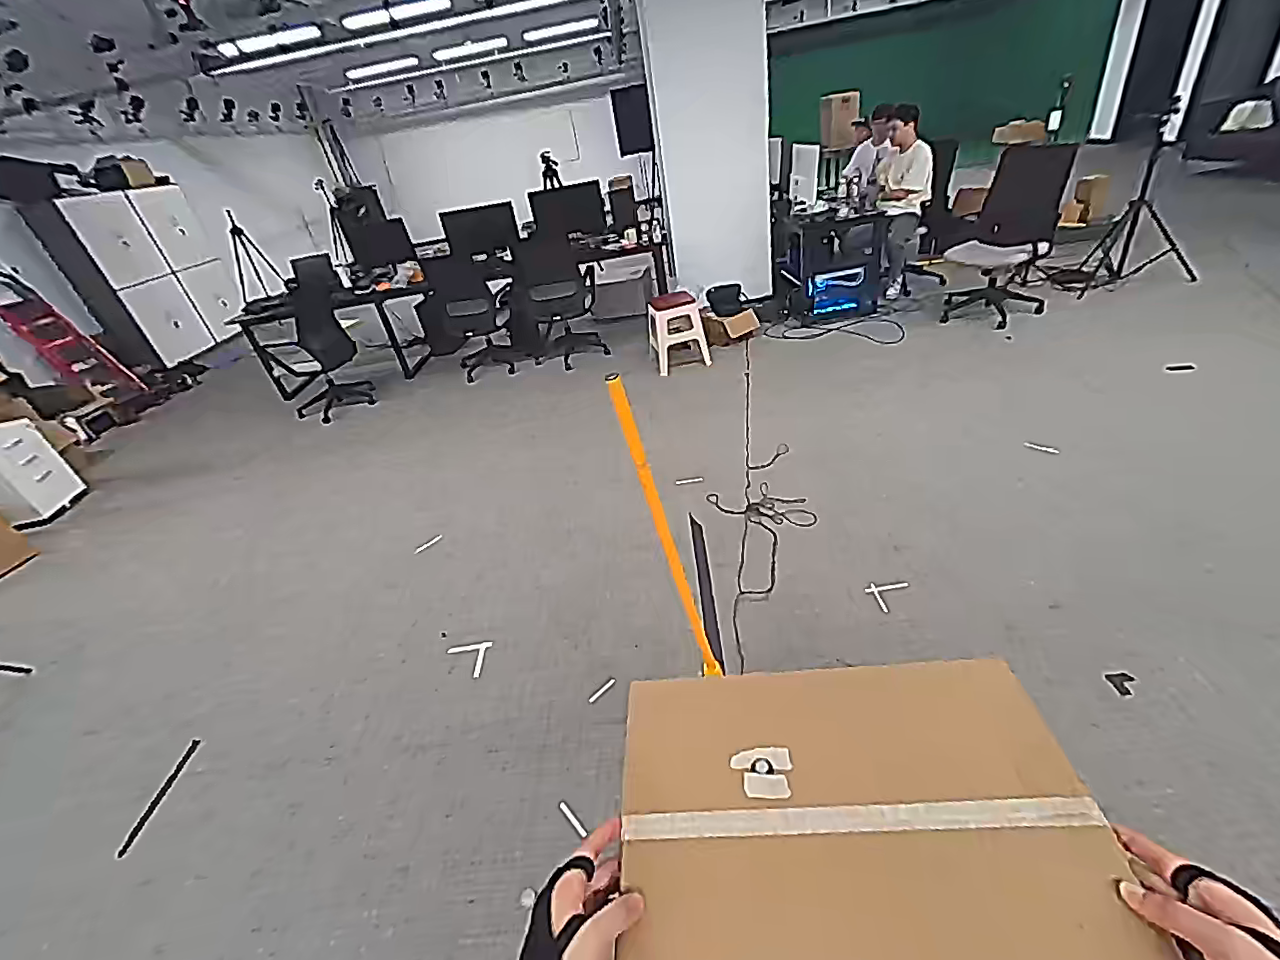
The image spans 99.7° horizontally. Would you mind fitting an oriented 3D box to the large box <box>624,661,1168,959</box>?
[{"bbox_3d":[0.211,0.432,0.572,0.408,0.320,0.320,-7,33,7],"label":"large box"}]
